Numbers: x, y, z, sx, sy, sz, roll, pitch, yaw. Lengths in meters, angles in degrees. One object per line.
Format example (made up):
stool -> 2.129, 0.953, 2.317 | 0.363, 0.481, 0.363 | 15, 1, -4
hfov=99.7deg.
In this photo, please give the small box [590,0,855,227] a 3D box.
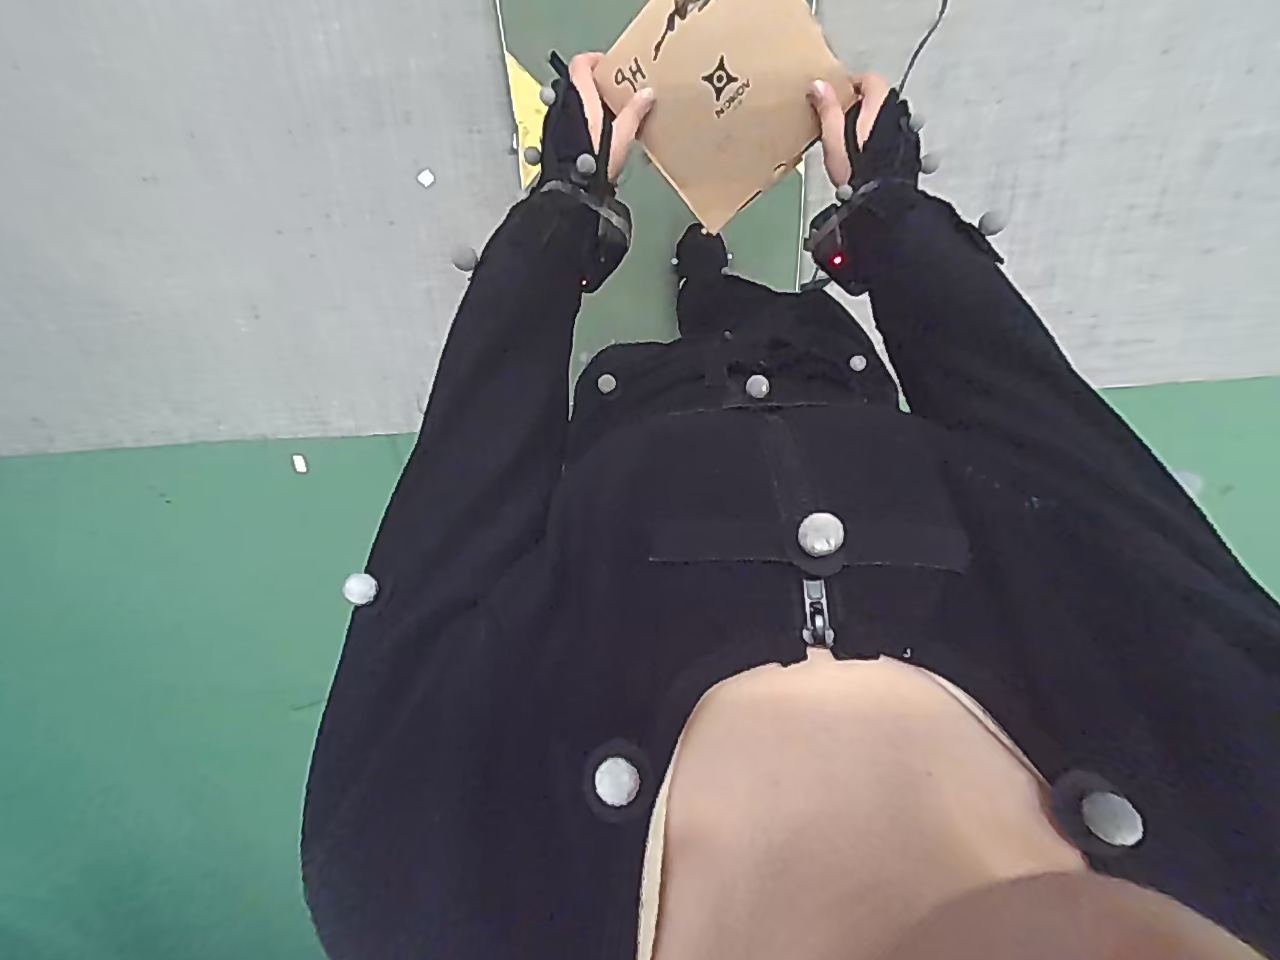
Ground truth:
small box -> 0.074, -0.392, 0.528 | 0.168, 0.176, 0.179 | -36, 119, 24
